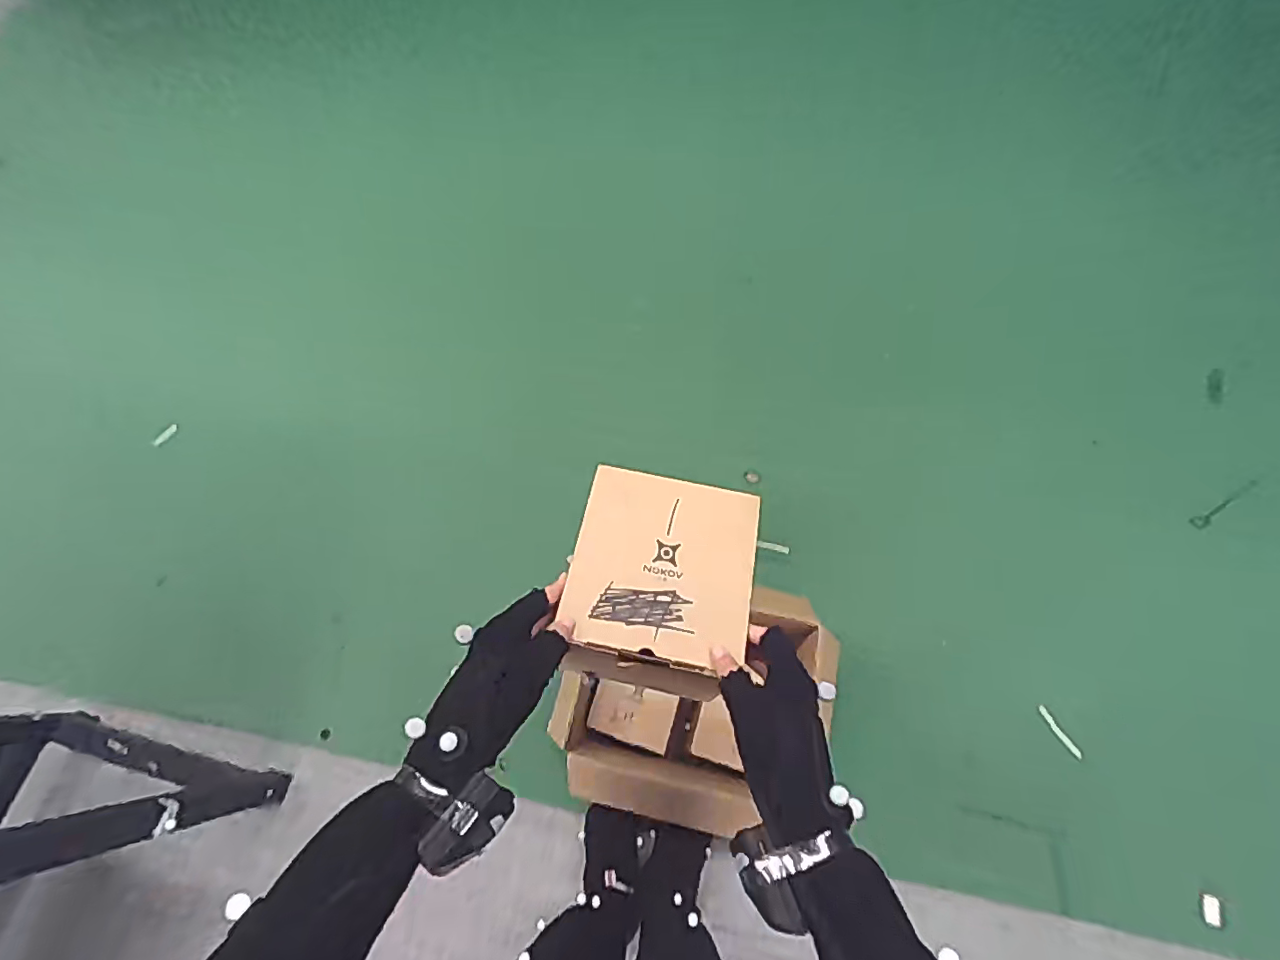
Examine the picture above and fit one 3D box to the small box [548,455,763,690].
[{"bbox_3d":[0.017,0.103,0.550,0.168,0.176,0.179,12,62,3],"label":"small box"}]
